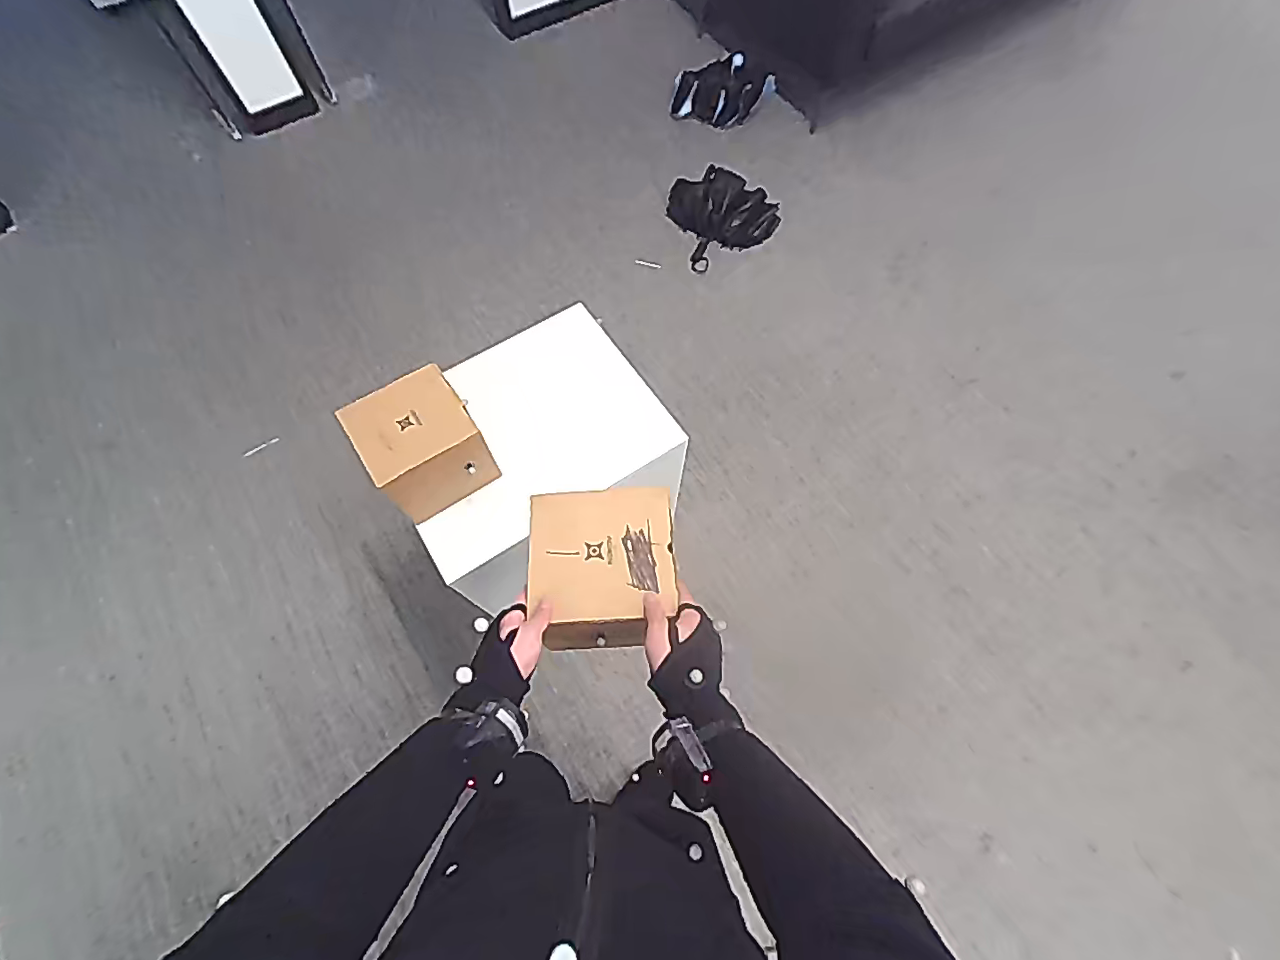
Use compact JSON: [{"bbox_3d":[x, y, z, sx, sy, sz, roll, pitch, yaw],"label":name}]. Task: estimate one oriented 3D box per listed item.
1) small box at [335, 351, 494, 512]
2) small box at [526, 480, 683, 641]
[{"bbox_3d":[-0.363,-0.075,0.909,0.179,0.176,0.168,-32,70,-15],"label":"small box"},{"bbox_3d":[-0.043,0.110,0.703,0.179,0.176,0.168,-2,62,-1],"label":"small box"}]
